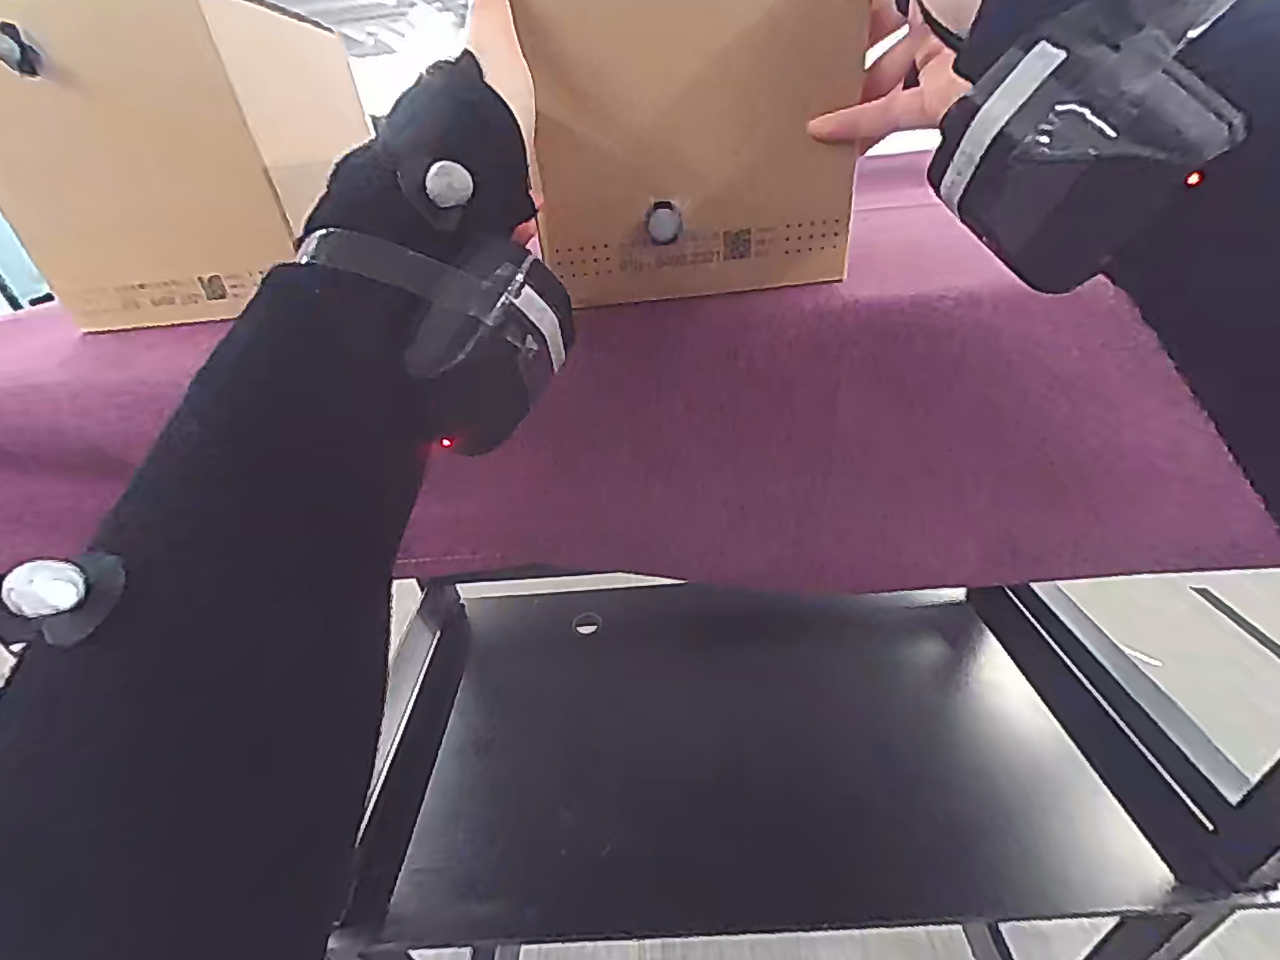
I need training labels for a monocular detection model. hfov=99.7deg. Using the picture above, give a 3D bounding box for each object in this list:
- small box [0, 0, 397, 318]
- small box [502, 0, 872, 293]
[{"bbox_3d":[-0.296,-0.221,0.381,0.168,0.176,0.179,-5,32,2],"label":"small box"},{"bbox_3d":[0.019,-0.218,0.324,0.168,0.176,0.179,-7,32,1],"label":"small box"}]
